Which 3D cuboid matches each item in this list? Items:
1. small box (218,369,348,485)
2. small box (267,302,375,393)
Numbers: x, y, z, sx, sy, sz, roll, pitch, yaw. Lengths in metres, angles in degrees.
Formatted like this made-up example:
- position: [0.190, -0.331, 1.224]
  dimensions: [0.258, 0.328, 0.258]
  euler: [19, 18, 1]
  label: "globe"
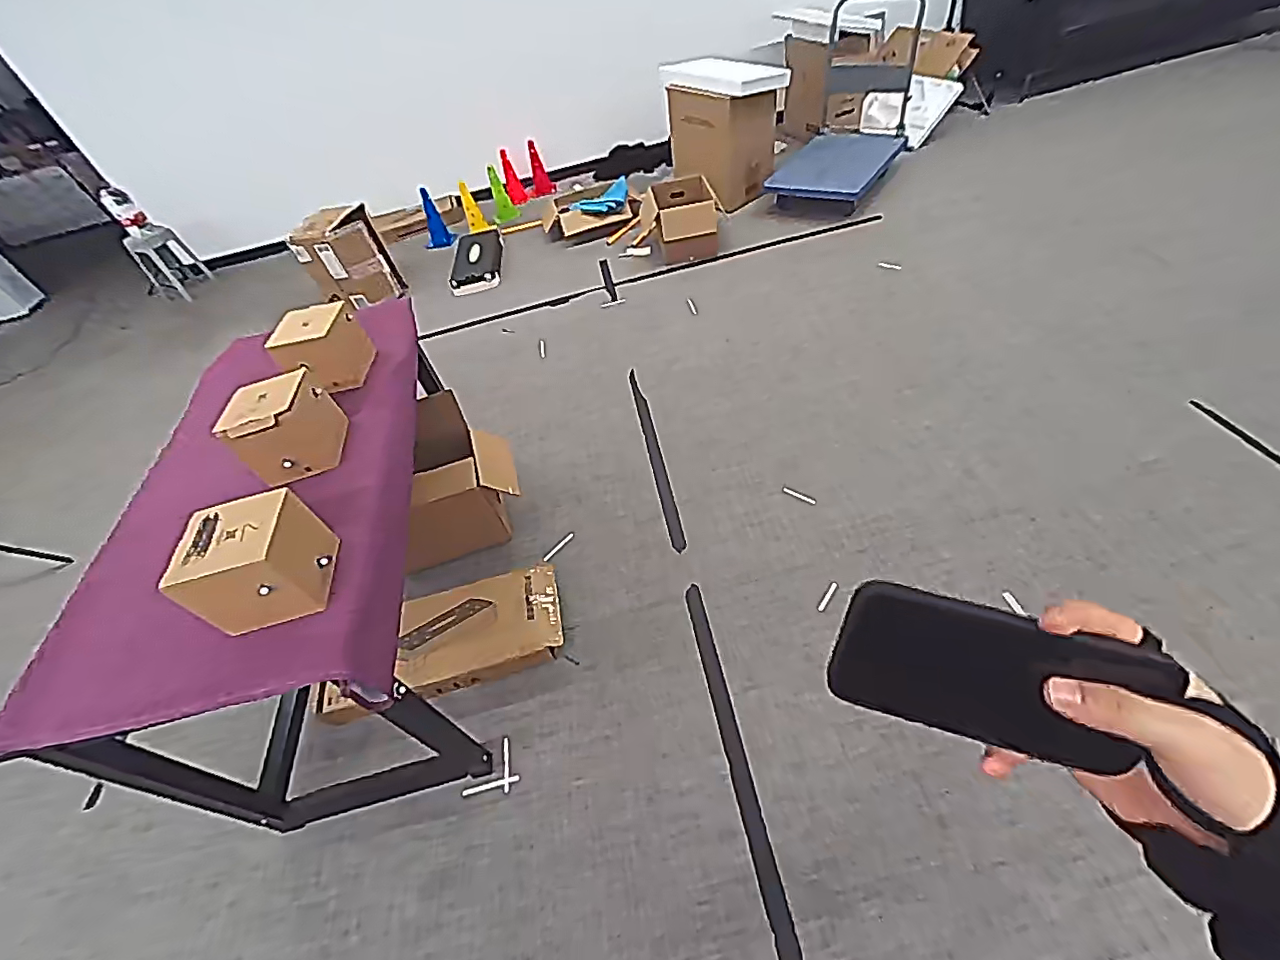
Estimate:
- position: [-0.798, -0.118, 1.233]
  dimensions: [0.168, 0.176, 0.179]
  euler: [-18, 47, 0]
  label: "small box"
- position: [-0.843, -0.346, 1.451]
  dimensions: [0.168, 0.176, 0.179]
  euler: [-11, 47, 4]
  label: "small box"
